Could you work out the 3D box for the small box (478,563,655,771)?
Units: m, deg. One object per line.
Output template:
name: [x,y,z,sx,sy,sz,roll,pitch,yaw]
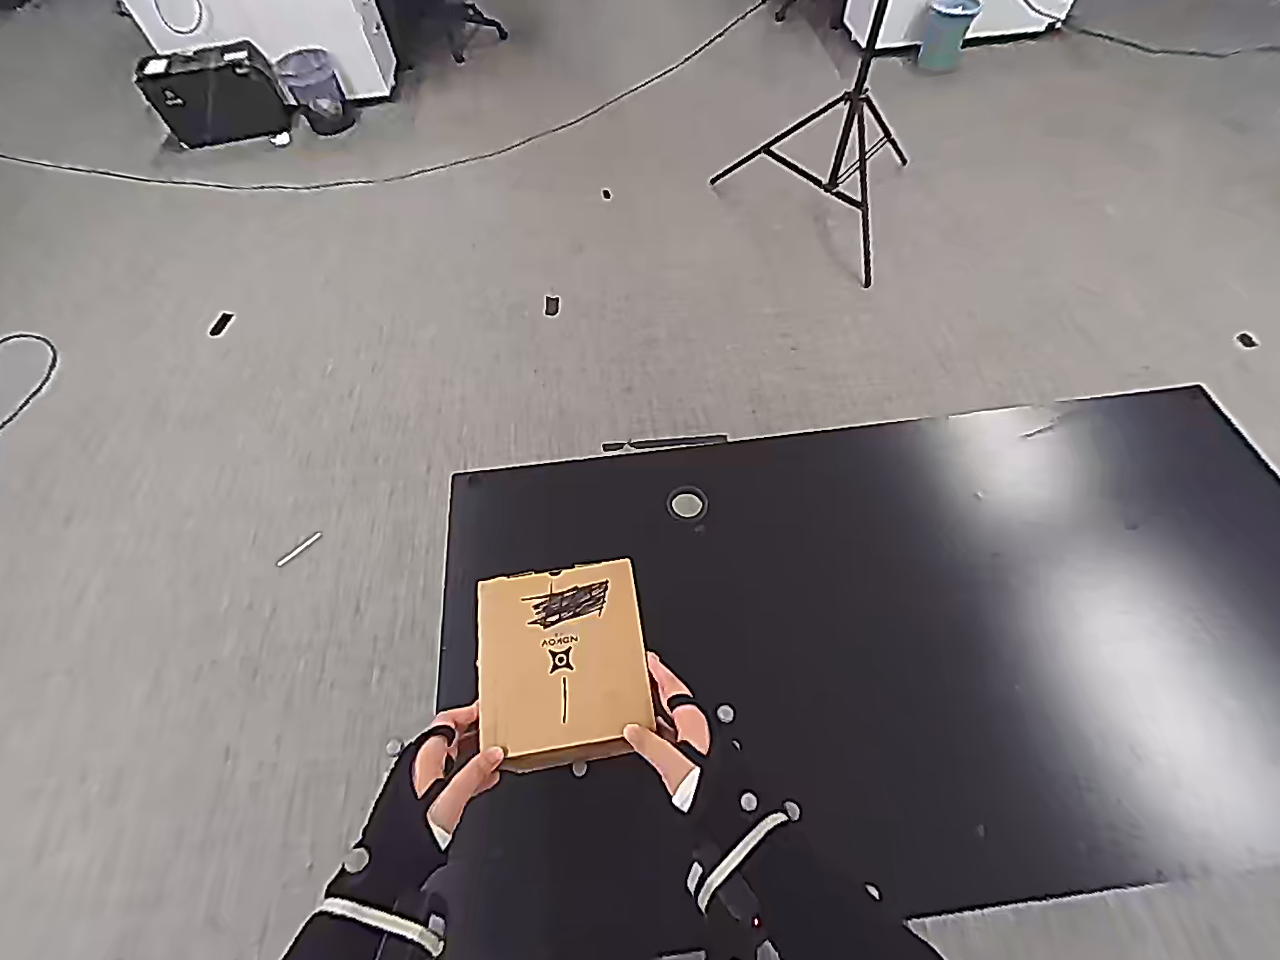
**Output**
small box: [-0.078,0.215,0.609,0.168,0.176,0.179,-9,60,-3]
